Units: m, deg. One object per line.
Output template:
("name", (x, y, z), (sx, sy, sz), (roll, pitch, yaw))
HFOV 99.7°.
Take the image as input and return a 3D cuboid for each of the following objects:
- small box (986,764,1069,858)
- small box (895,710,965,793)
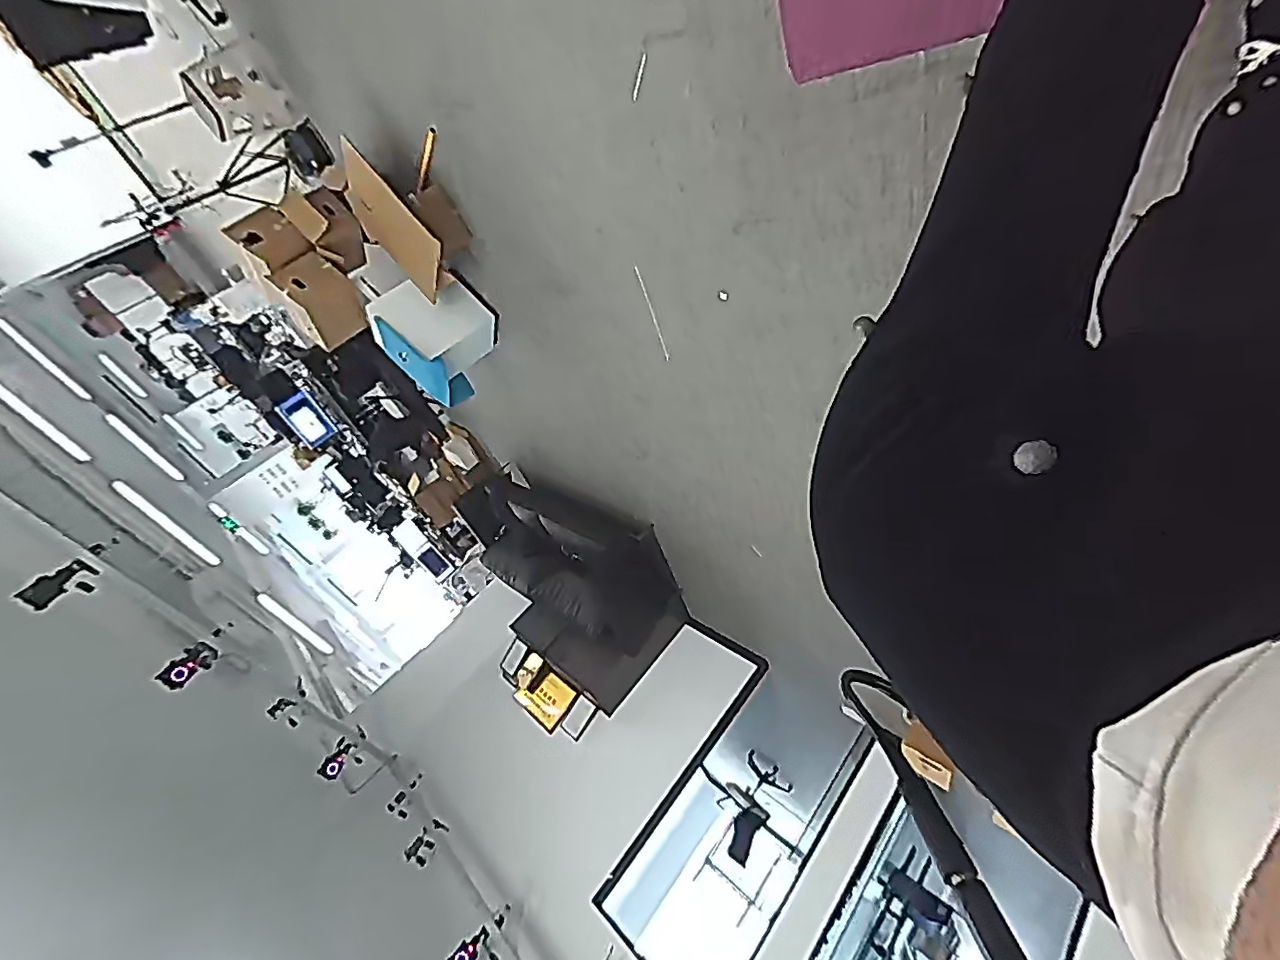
("small box", (1.236, 1.053, 1.727), (0.168, 0.176, 0.179), (22, 146, 40))
("small box", (1.024, 0.954, 1.910), (0.168, 0.176, 0.179), (23, 146, 41))
